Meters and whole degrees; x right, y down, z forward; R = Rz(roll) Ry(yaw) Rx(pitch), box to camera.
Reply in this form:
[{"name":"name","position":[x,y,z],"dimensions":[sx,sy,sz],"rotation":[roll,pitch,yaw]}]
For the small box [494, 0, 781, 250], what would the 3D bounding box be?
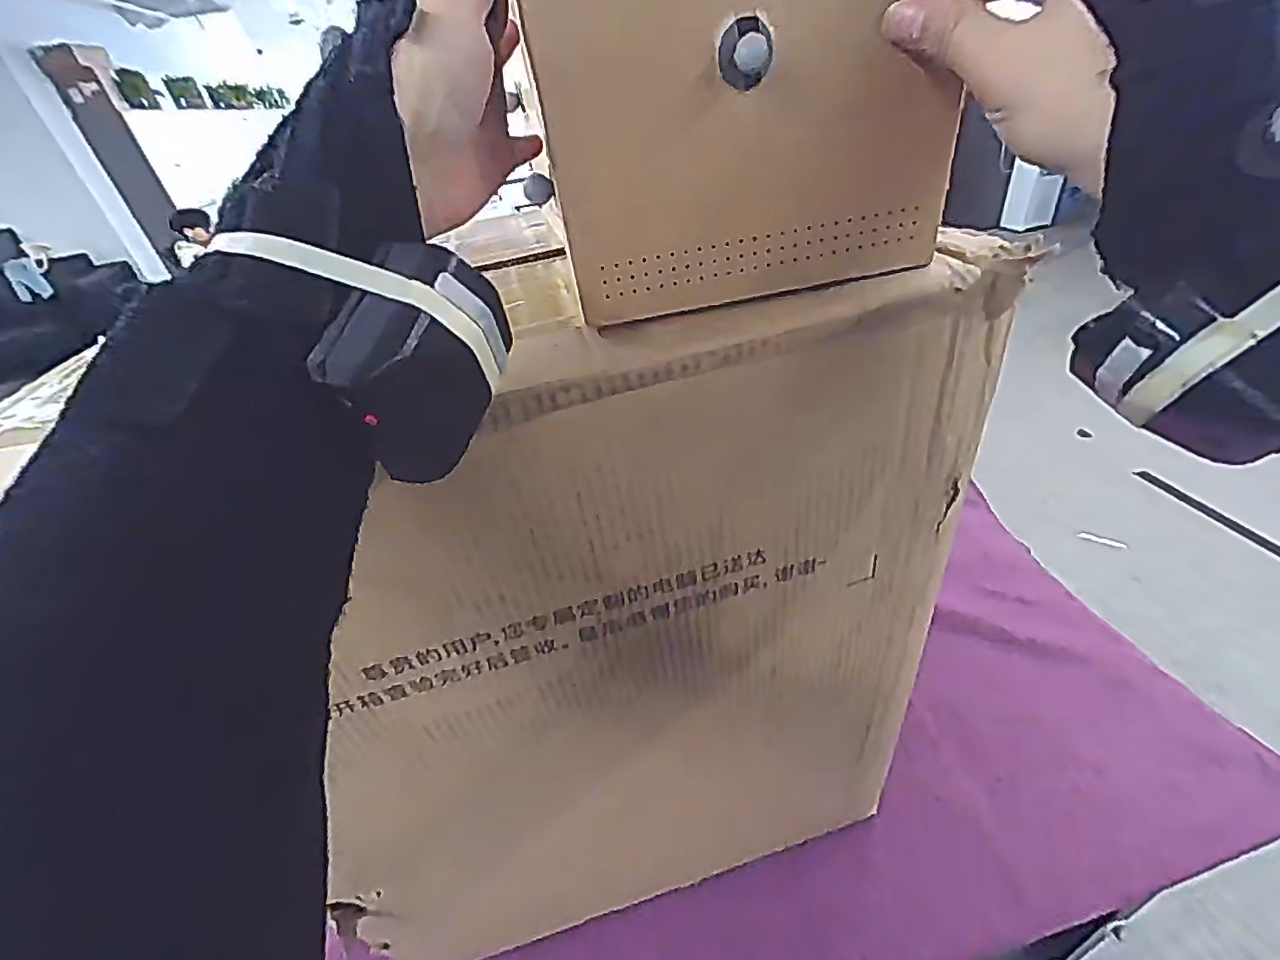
[{"name":"small box","position":[-0.002,-0.291,0.419],"dimensions":[0.179,0.176,0.168],"rotation":[-15,36,-6]}]
